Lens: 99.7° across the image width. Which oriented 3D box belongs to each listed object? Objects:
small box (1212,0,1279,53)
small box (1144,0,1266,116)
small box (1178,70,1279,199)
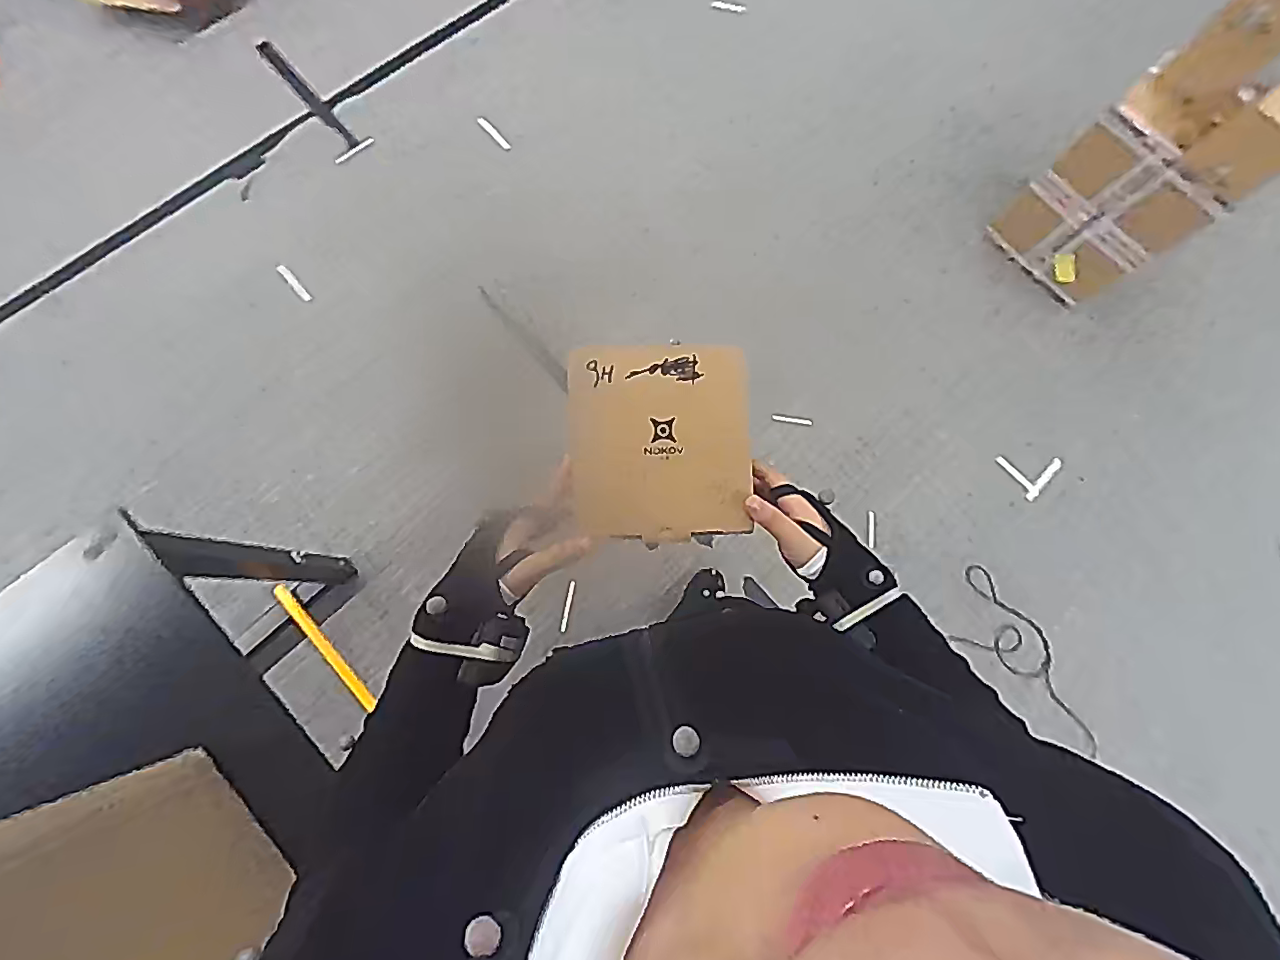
[{"bbox_3d":[1.416,-1.085,1.163,0.179,0.176,0.168,-41,81,-9],"label":"small box"},{"bbox_3d":[1.410,-1.052,1.322,0.179,0.176,0.168,-41,82,-9],"label":"small box"},{"bbox_3d":[1.452,-0.817,1.276,0.179,0.176,0.168,-42,84,-9],"label":"small box"}]
